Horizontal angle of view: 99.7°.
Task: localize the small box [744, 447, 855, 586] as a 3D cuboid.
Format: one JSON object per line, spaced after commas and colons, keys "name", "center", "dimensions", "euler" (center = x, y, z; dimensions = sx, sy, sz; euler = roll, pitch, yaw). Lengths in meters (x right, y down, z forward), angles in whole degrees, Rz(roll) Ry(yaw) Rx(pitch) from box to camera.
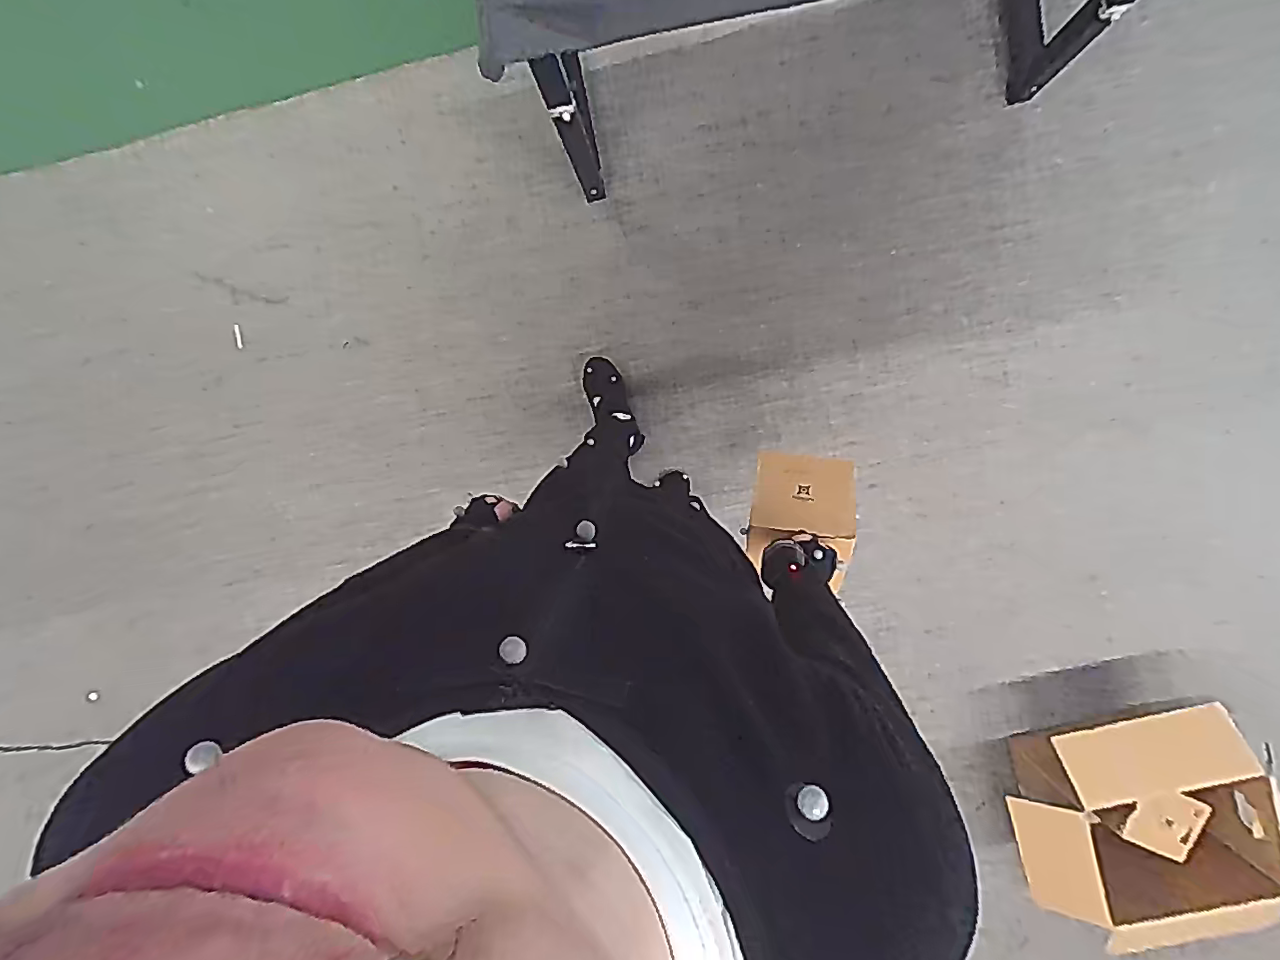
{"name": "small box", "center": [0.281, 0.068, 0.969], "dimensions": [0.168, 0.179, 0.176], "euler": [8, 139, 11]}
